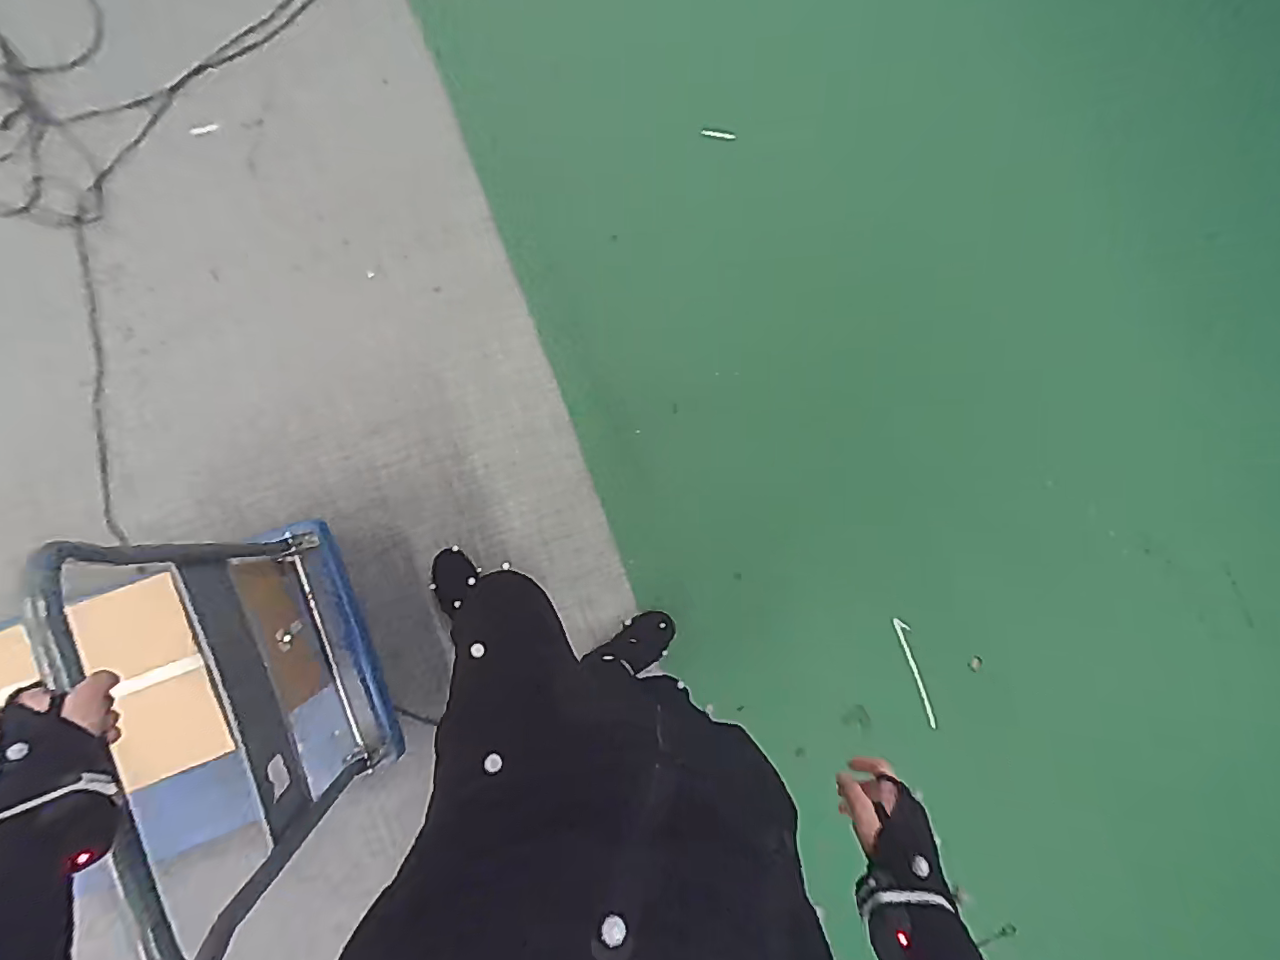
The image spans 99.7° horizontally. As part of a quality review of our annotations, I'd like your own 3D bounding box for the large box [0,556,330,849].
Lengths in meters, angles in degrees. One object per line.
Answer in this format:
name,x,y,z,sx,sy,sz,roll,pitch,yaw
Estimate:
large box,-0.886,0.366,1.000,0.408,0.320,0.320,-21,88,-7
